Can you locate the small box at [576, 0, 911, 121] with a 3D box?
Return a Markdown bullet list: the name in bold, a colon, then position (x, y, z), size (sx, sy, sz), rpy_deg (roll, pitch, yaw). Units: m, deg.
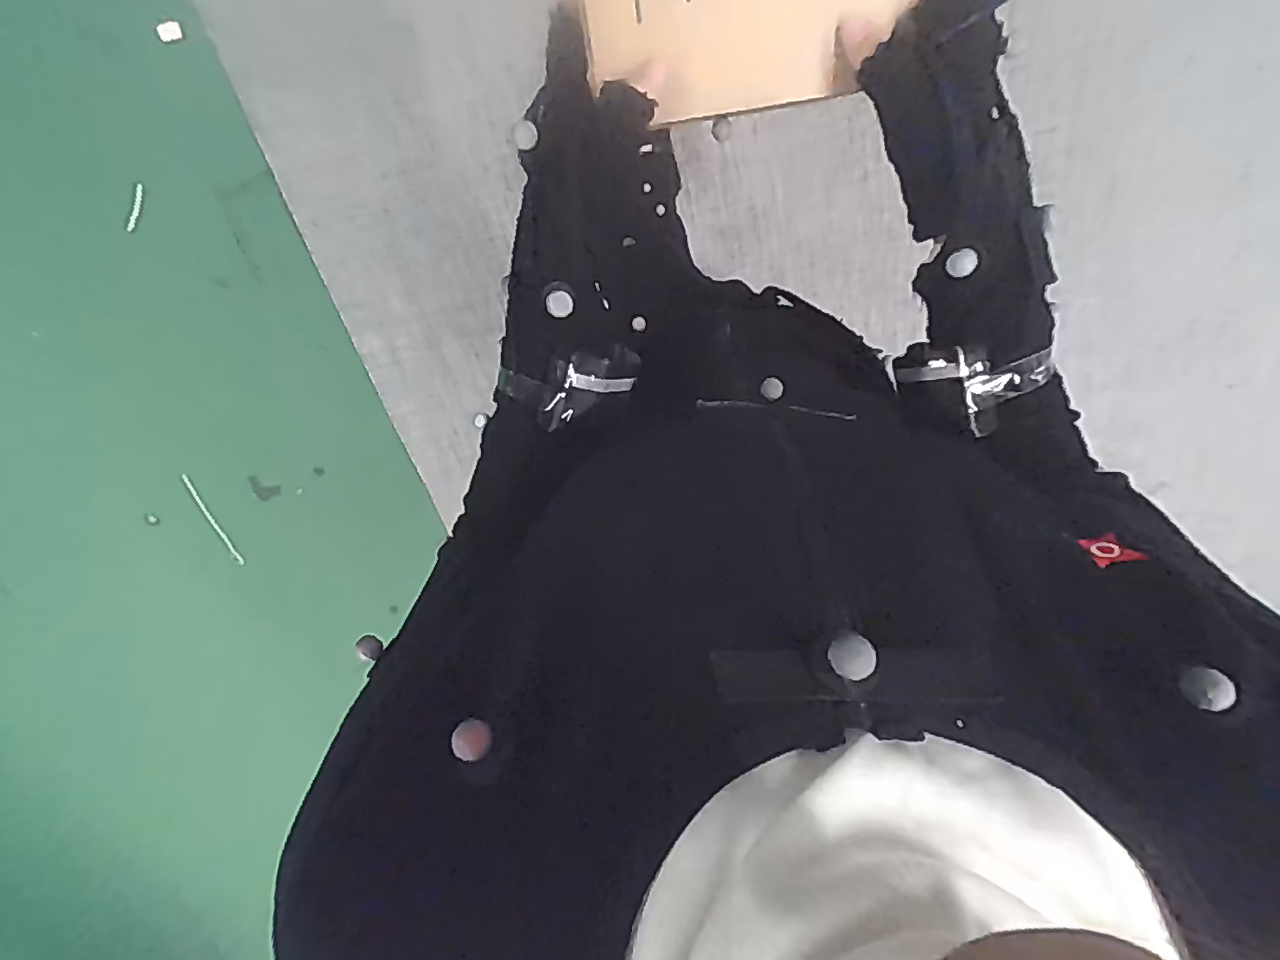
- **small box**: position (0.049, -0.329, 0.328), size (0.179, 0.176, 0.168), rpy_deg (-7, 122, 3)
